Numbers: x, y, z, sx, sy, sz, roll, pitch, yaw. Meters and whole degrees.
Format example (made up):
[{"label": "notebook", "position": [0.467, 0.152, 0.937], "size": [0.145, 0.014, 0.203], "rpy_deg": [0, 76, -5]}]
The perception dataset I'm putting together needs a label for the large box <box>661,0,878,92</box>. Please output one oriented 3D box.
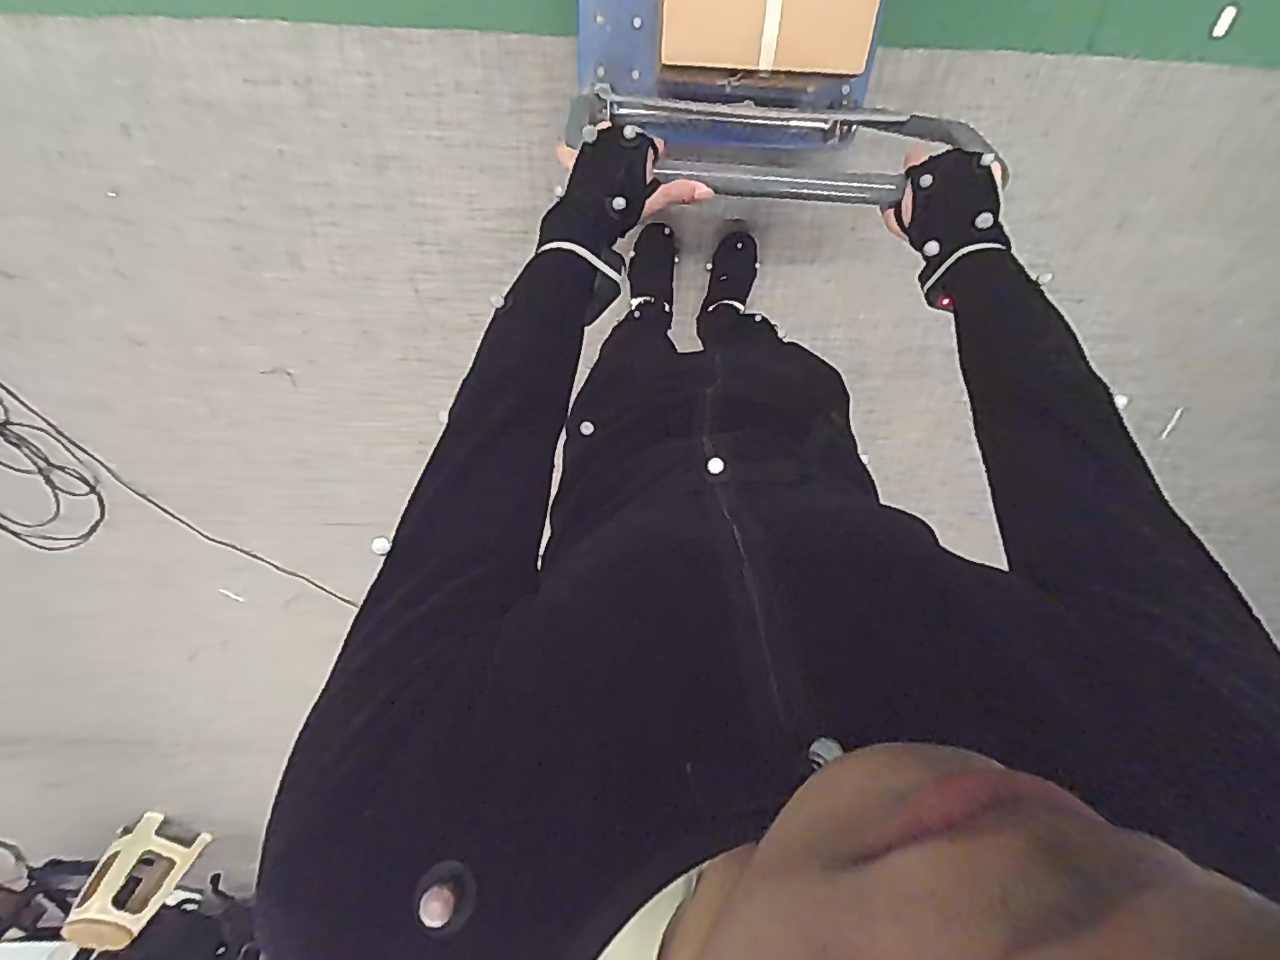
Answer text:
[{"label": "large box", "position": [0.195, -0.867, 0.847], "size": [0.320, 0.320, 0.408], "rpy_deg": [2, 122, -2]}]
